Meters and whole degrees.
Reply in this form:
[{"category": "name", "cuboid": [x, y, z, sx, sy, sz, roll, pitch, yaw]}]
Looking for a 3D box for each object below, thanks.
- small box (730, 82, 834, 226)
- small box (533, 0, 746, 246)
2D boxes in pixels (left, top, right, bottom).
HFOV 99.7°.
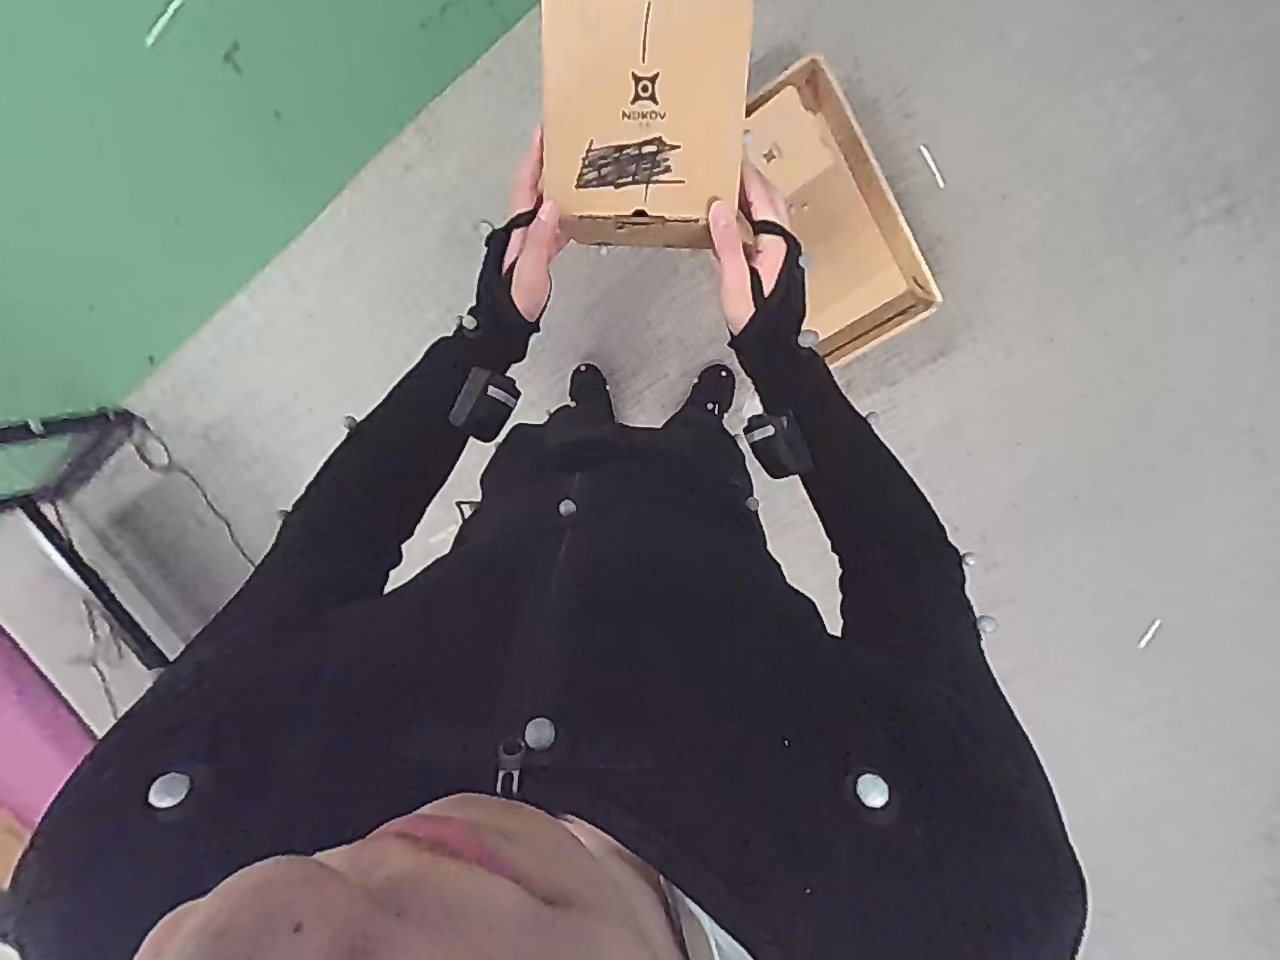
[{"category": "small box", "cuboid": [0.267, -0.654, 1.110, 0.179, 0.176, 0.168, -31, 99, 16]}, {"category": "small box", "cuboid": [0.003, -0.323, 0.506, 0.168, 0.176, 0.179, 2, 106, 3]}]
